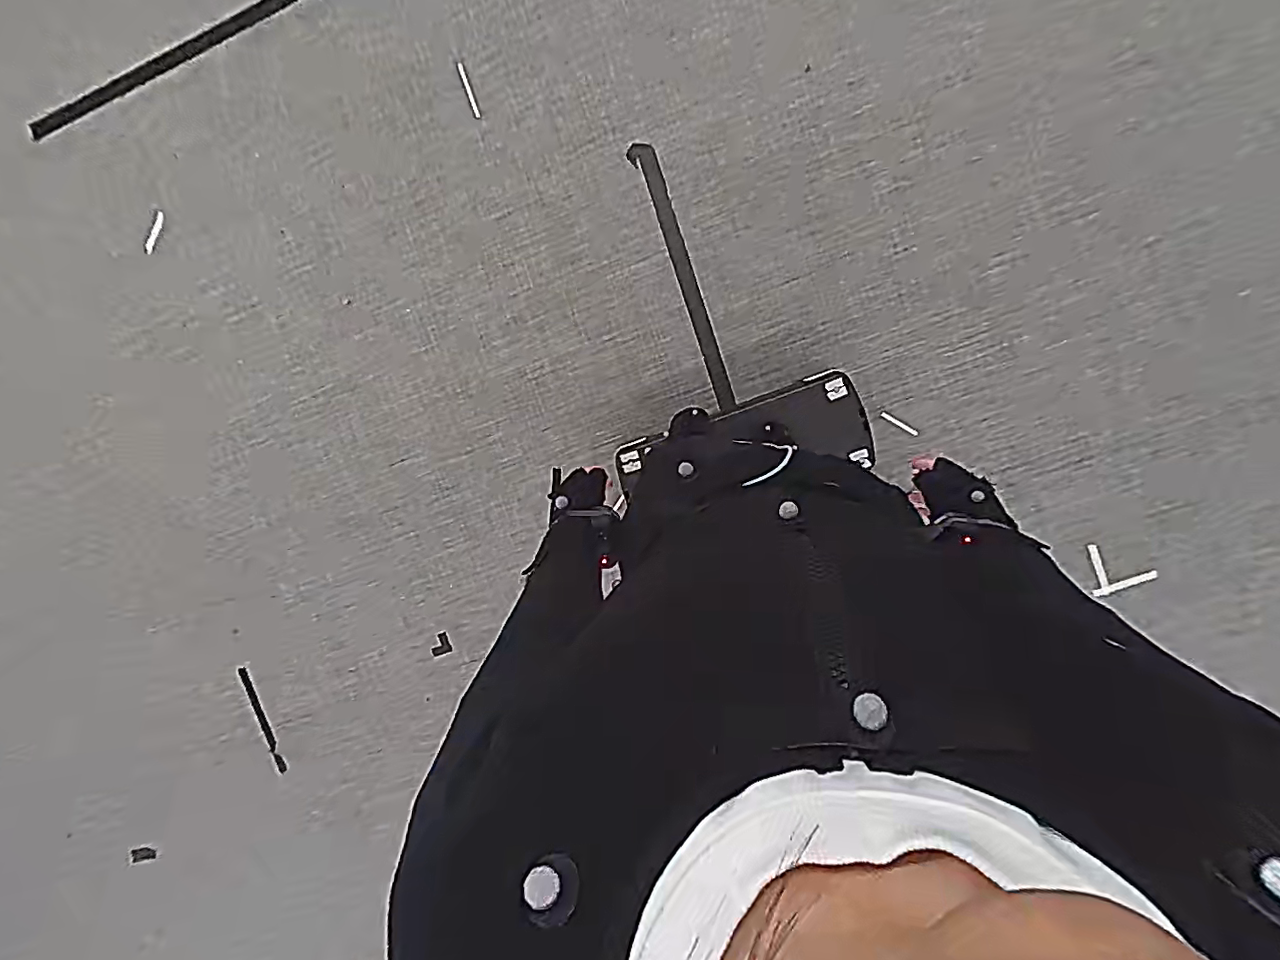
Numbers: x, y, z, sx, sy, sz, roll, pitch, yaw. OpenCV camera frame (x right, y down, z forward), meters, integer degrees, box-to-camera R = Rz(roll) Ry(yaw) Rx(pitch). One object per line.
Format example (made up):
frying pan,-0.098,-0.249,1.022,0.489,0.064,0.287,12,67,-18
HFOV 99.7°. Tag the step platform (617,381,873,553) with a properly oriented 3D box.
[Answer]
step platform,0.281,-0.035,1.523,0.684,0.204,0.286,-21,96,7
